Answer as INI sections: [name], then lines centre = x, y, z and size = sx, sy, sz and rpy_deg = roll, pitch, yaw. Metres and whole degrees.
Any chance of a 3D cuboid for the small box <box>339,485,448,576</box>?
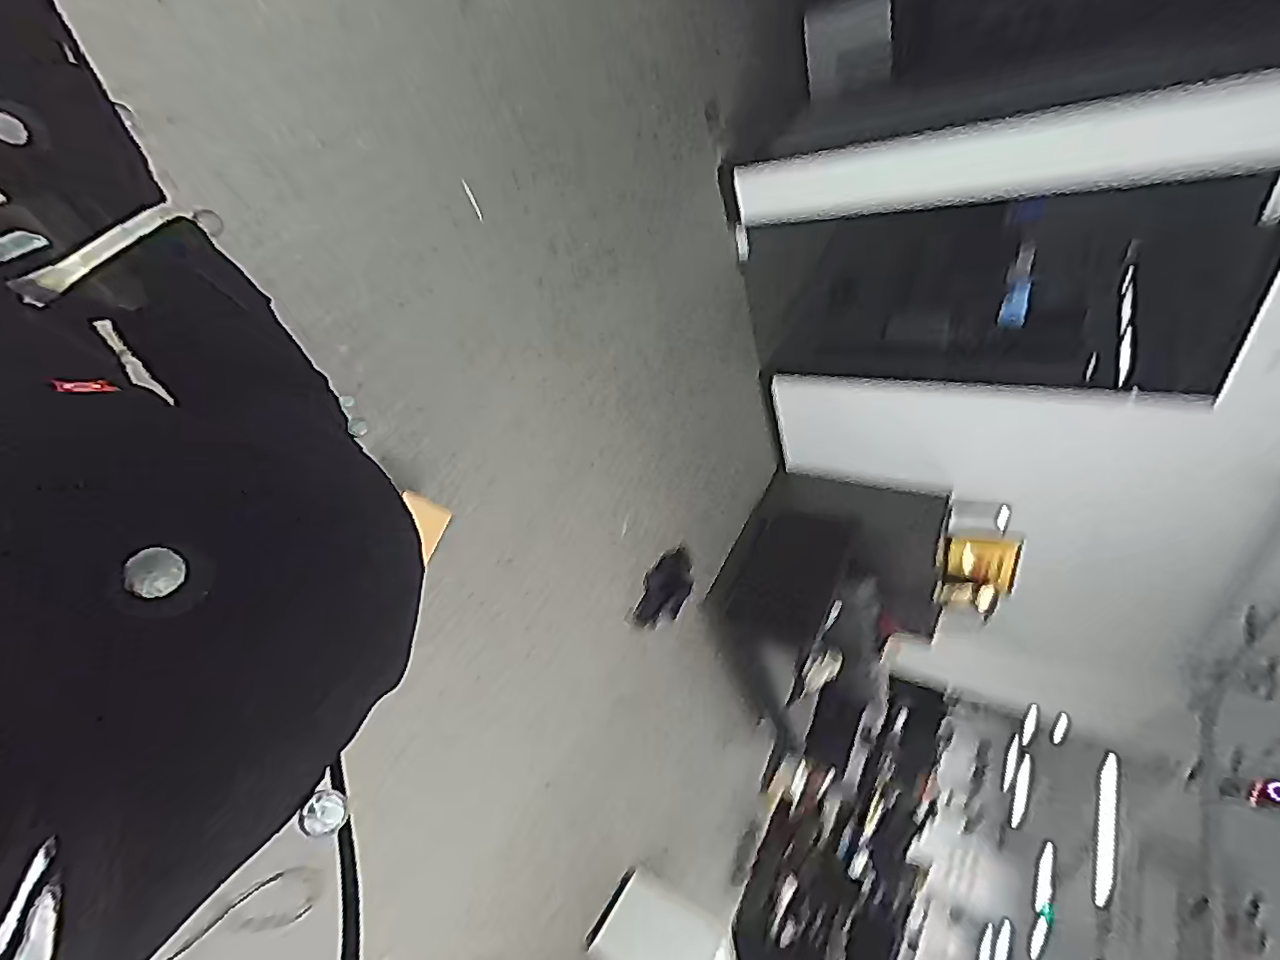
[small box]
centre = -0.659, 0.131, 1.439
size = 0.168, 0.176, 0.179
rpy_deg = 44, 65, -52
